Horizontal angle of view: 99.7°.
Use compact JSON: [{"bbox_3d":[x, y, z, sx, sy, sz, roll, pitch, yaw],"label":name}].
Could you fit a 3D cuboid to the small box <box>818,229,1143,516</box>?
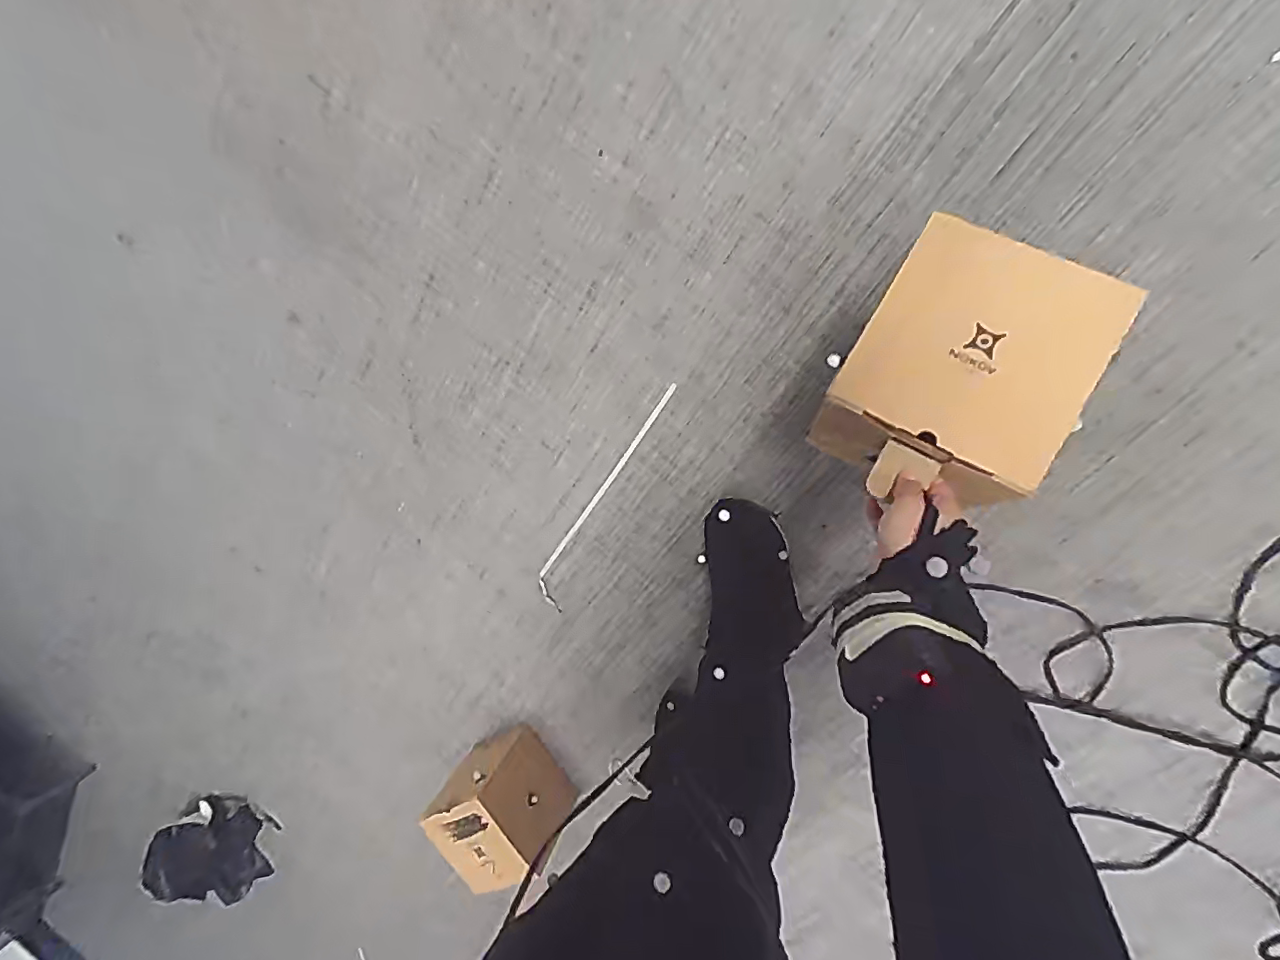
[{"bbox_3d":[0.284,-0.083,0.501,0.168,0.176,0.179,31,89,13],"label":"small box"}]
